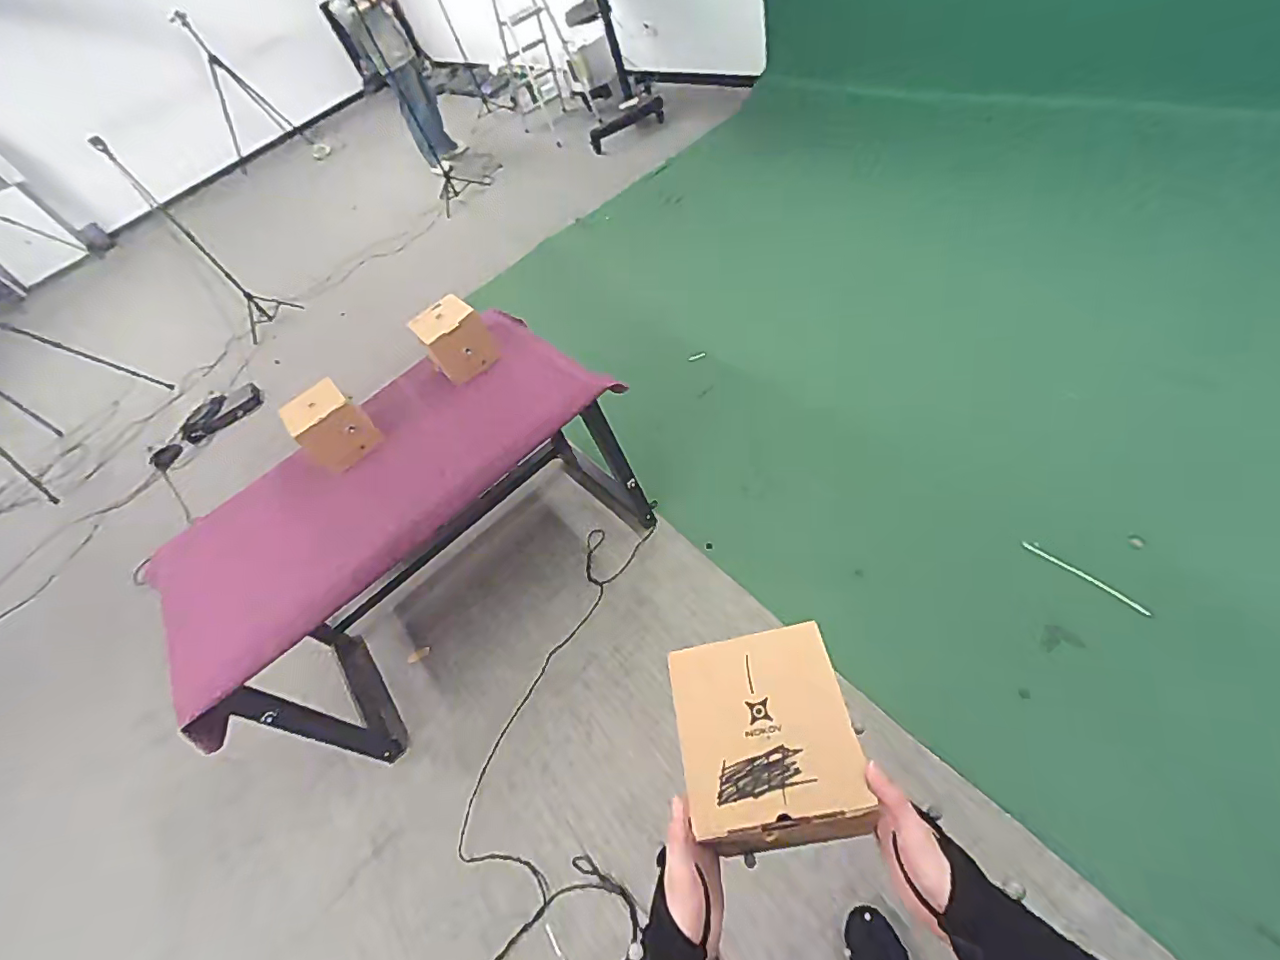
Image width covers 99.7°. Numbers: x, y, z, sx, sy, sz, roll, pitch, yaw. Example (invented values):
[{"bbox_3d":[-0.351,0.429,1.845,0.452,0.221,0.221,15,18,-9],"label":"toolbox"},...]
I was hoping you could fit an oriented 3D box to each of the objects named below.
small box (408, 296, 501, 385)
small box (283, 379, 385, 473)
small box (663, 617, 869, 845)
[{"bbox_3d":[-0.544,-0.410,1.607,0.168,0.176,0.179,-41,51,-12],"label":"small box"},{"bbox_3d":[-0.856,-0.146,1.526,0.168,0.176,0.179,-41,51,-13],"label":"small box"},{"bbox_3d":[0.134,0.277,0.583,0.168,0.176,0.179,-16,48,8],"label":"small box"}]
